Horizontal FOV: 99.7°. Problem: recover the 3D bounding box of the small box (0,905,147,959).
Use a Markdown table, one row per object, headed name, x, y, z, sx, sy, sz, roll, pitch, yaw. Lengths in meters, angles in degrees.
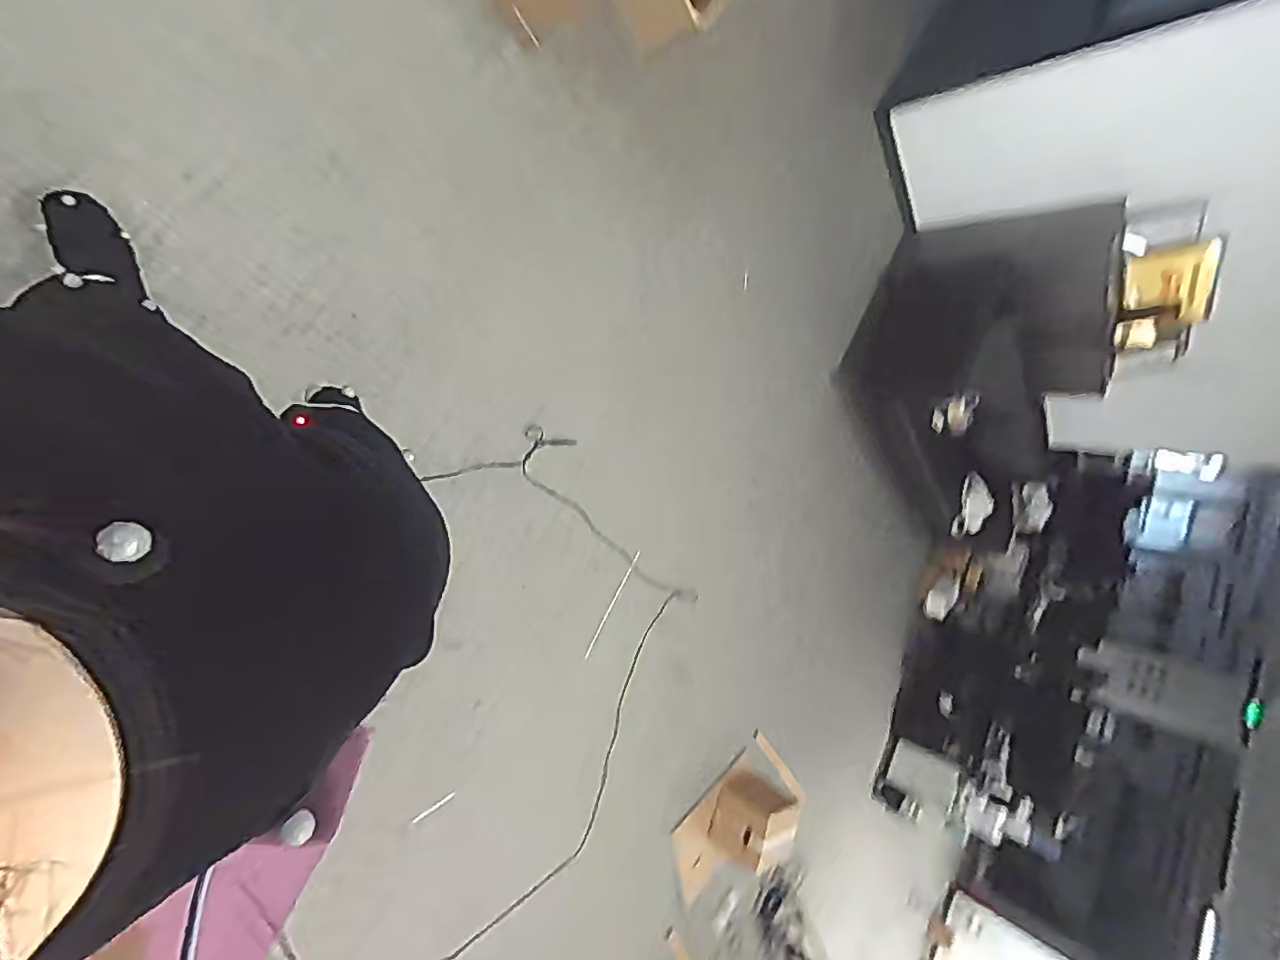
| name | x | y | z | sx | sy | sz | roll | pitch | yaw |
| --- | --- | --- | --- | --- | --- | --- | --- | --- | --- |
| small box | -0.636 | 0.560 | 0.530 | 0.179 | 0.176 | 0.168 | 41 | 72 | -42 |
